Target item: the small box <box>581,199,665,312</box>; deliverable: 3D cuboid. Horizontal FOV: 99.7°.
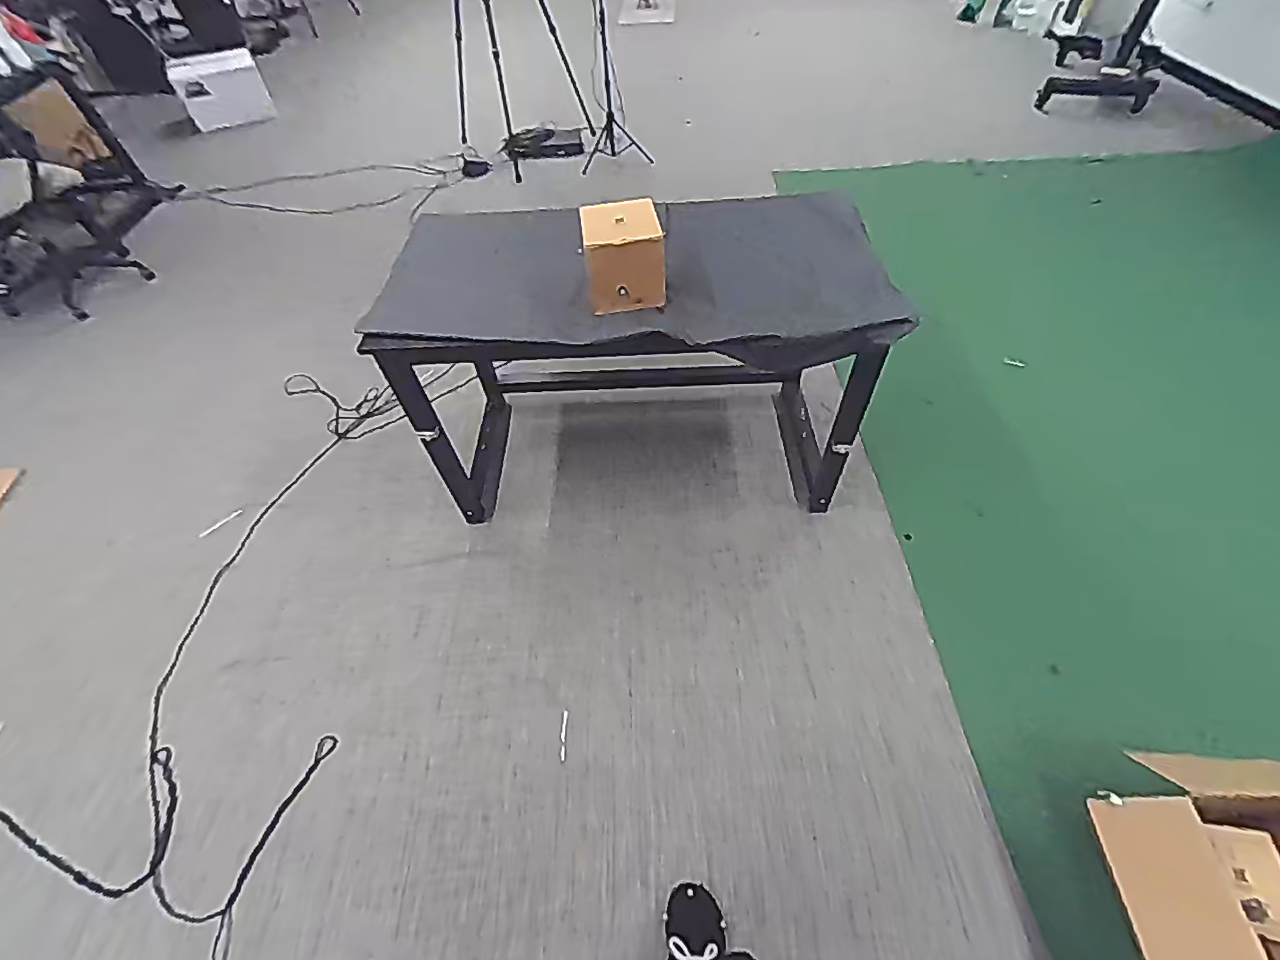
[{"bbox_3d":[-0.039,-0.505,1.220,0.168,0.176,0.179,-8,53,-3],"label":"small box"}]
